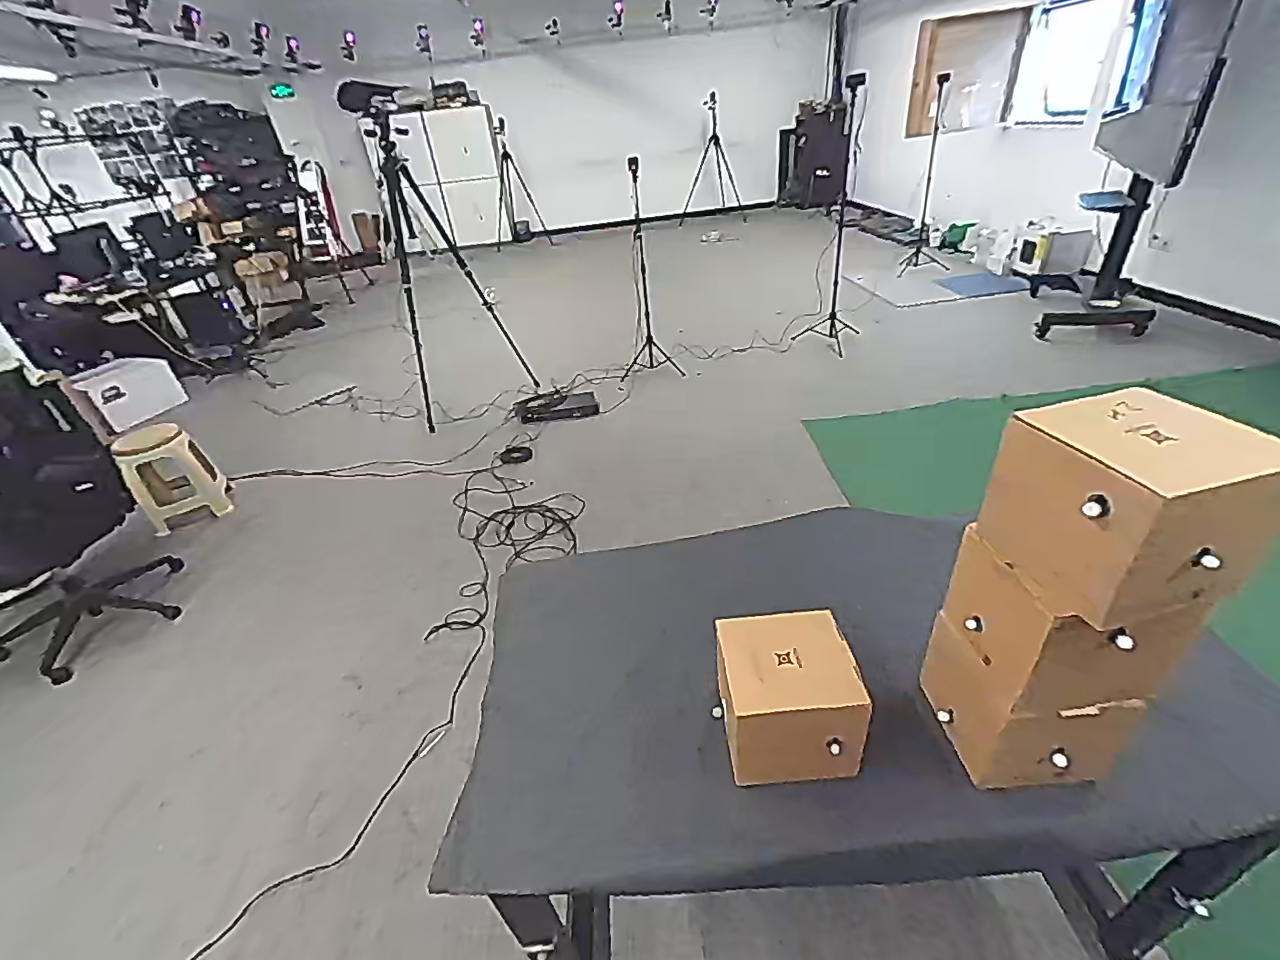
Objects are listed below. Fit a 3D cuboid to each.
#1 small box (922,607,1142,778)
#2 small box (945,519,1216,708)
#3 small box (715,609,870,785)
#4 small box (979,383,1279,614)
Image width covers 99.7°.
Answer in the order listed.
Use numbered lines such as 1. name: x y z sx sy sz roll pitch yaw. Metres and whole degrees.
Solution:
1. small box: 0.522 0.291 0.753 0.168 0.176 0.179 -7 33 2
2. small box: 0.513 0.154 0.665 0.179 0.176 0.168 -8 33 1
3. small box: 0.209 0.314 0.786 0.179 0.176 0.168 -7 32 2
4. small box: 0.502 0.020 0.569 0.168 0.176 0.179 -12 33 -6
